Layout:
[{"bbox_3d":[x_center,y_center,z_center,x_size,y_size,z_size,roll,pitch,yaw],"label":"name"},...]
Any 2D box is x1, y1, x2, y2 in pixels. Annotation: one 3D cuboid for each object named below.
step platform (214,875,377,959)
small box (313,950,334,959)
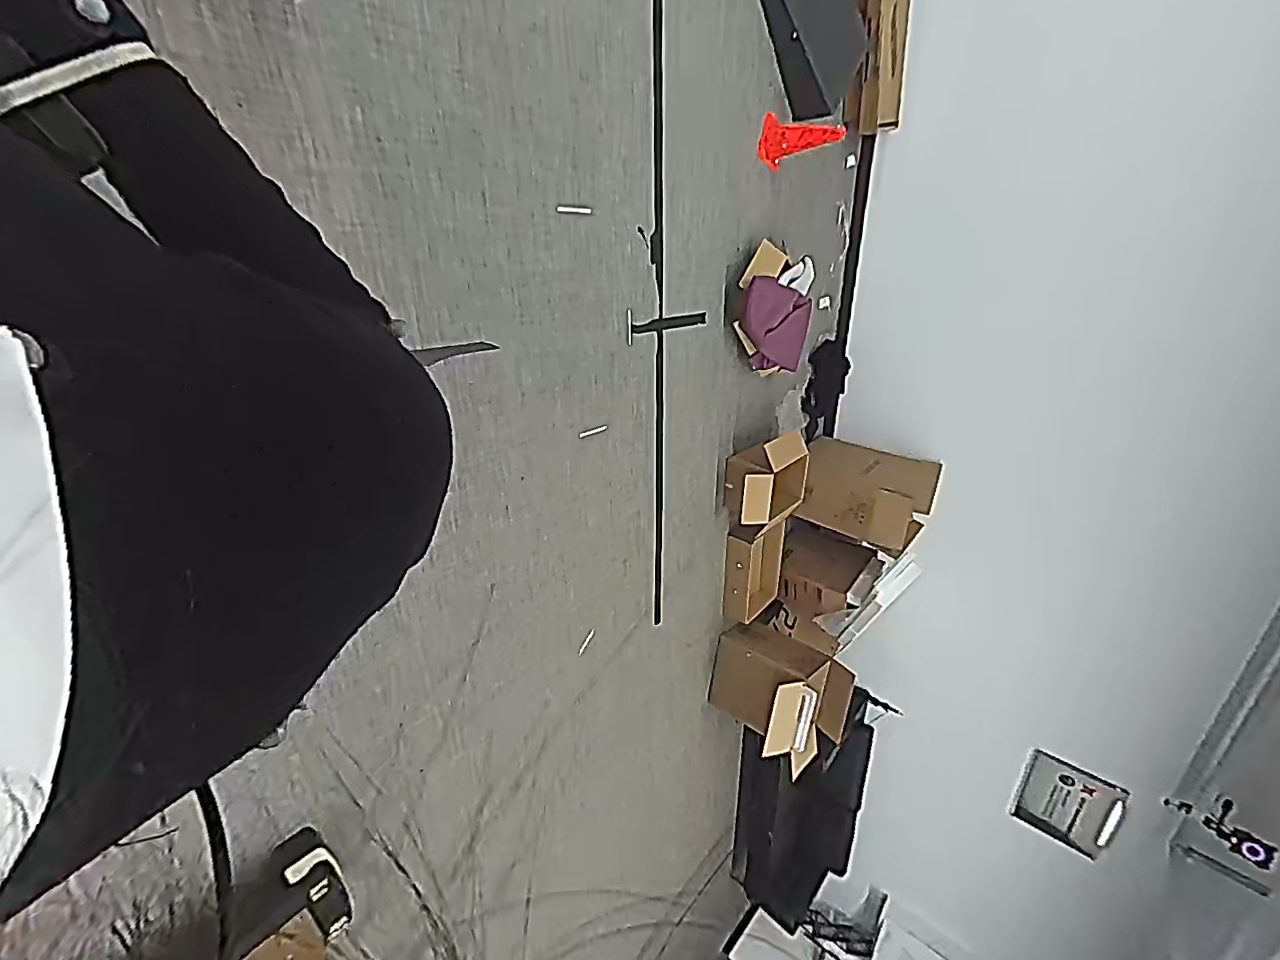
[{"bbox_3d":[-1.036,1.361,1.328,0.684,0.204,0.286,-27,126,-42],"label":"step platform"},{"bbox_3d":[-0.834,1.372,1.373,0.179,0.176,0.168,-30,128,-41],"label":"small box"}]
